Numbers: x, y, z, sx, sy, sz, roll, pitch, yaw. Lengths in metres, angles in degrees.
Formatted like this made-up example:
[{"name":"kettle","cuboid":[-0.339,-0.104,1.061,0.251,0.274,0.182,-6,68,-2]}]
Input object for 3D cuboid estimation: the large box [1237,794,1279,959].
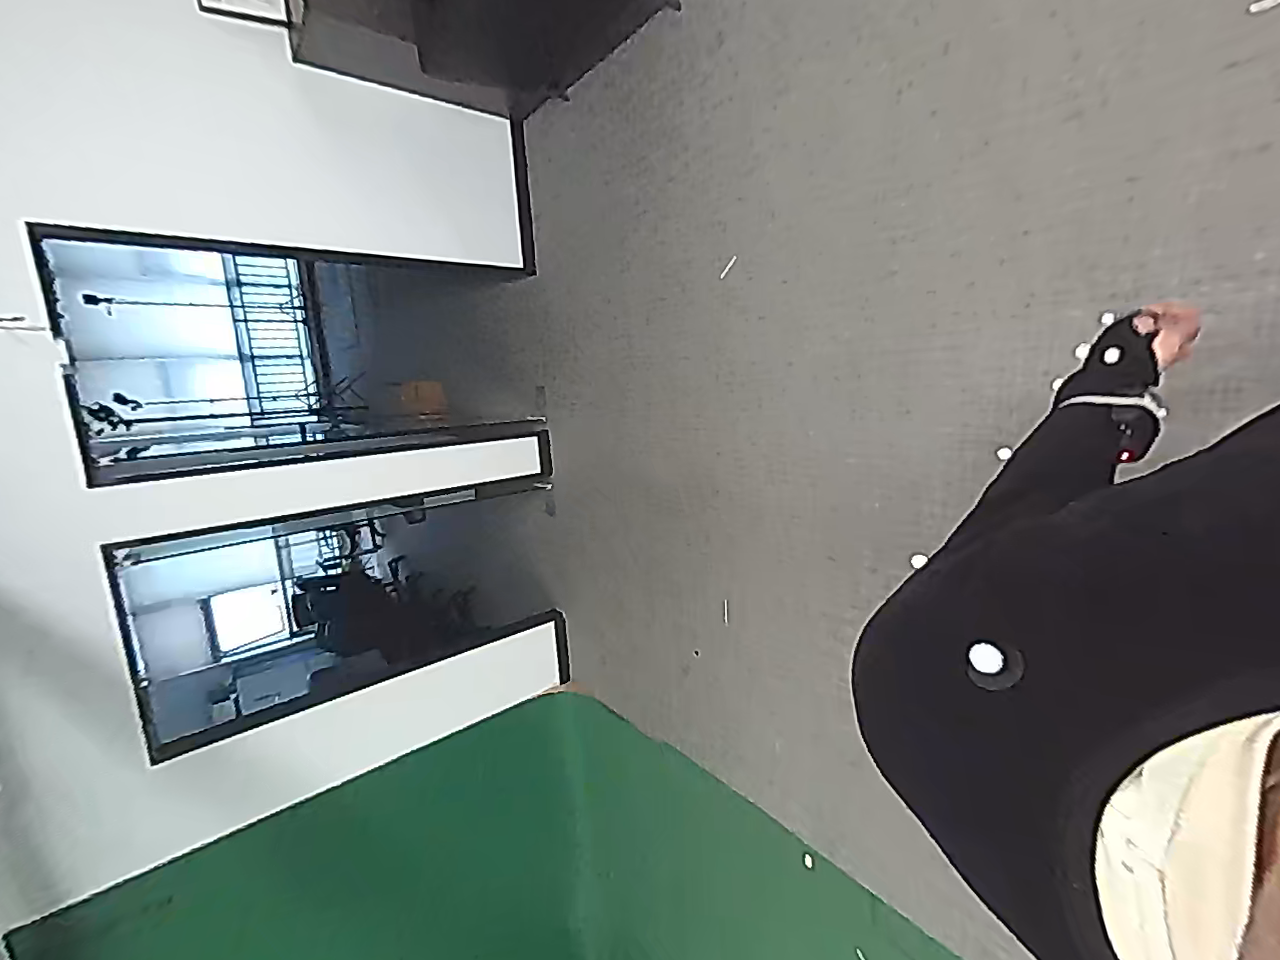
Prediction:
[{"name":"large box","cuboid":[1.359,0.853,0.939,0.408,0.320,0.320,7,104,52]}]
